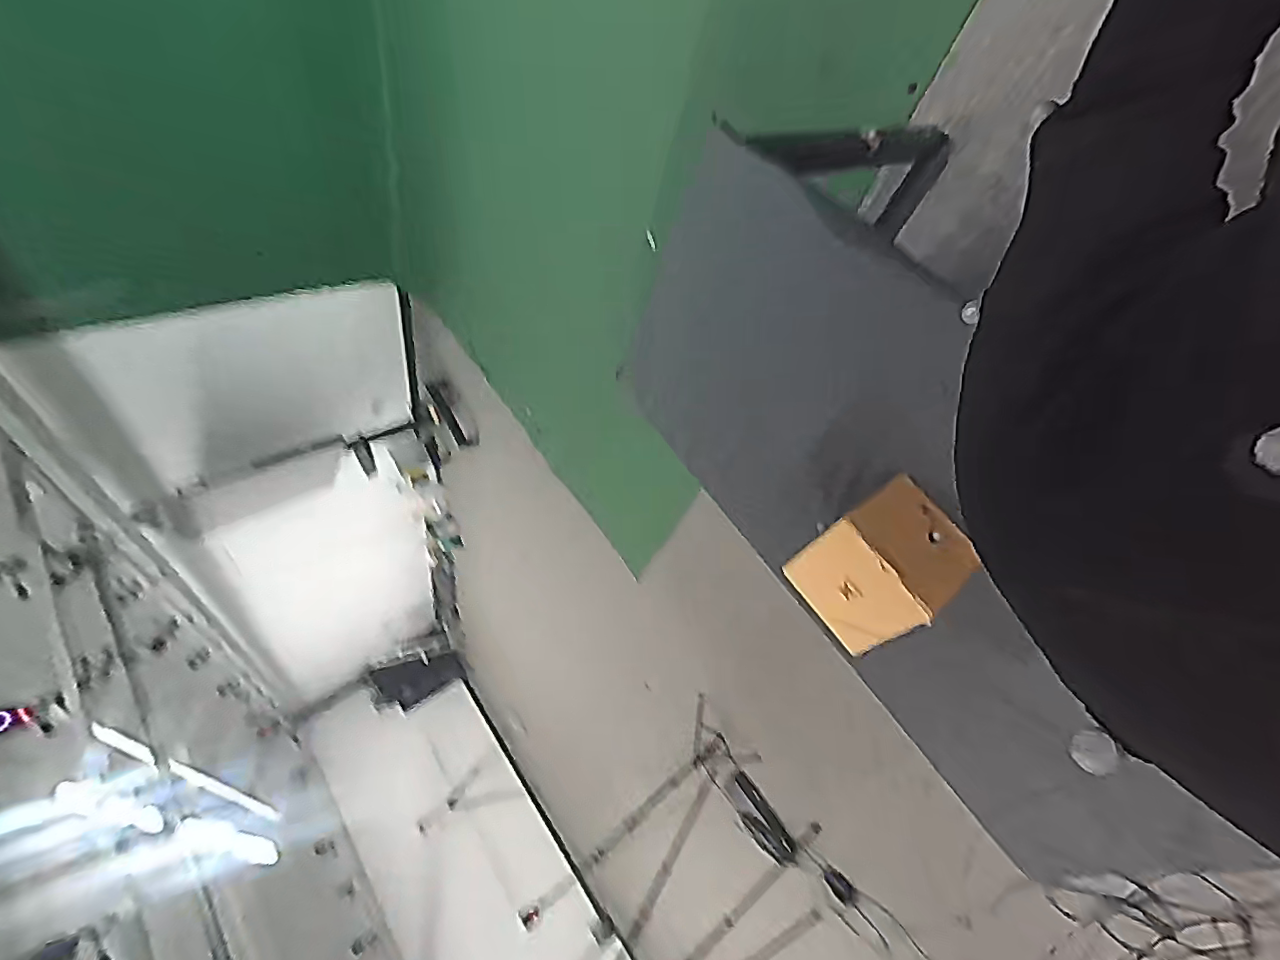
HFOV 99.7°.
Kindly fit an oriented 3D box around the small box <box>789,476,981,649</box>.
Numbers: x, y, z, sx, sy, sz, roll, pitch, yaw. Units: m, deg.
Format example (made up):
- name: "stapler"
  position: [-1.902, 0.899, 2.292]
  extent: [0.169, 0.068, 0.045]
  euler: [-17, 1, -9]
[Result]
- name: "small box"
  position: [0.372, 0.124, 0.829]
  extent: [0.168, 0.176, 0.179]
  euler: [52, 145, 18]
